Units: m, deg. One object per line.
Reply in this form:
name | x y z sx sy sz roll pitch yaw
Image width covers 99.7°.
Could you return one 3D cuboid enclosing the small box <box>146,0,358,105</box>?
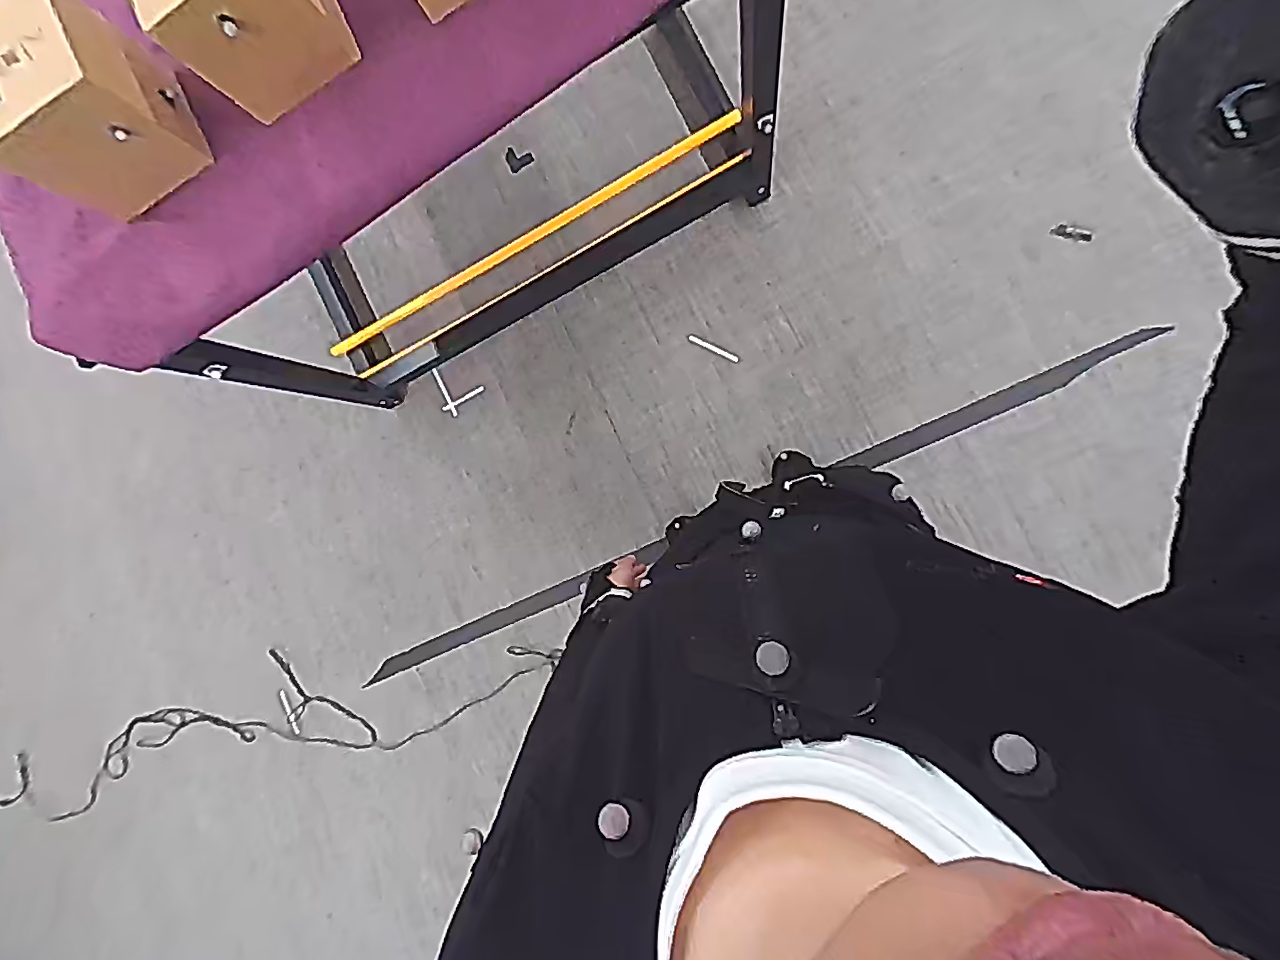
small box | -0.490 -0.632 0.677 0.179 0.176 0.168 -25 86 12
